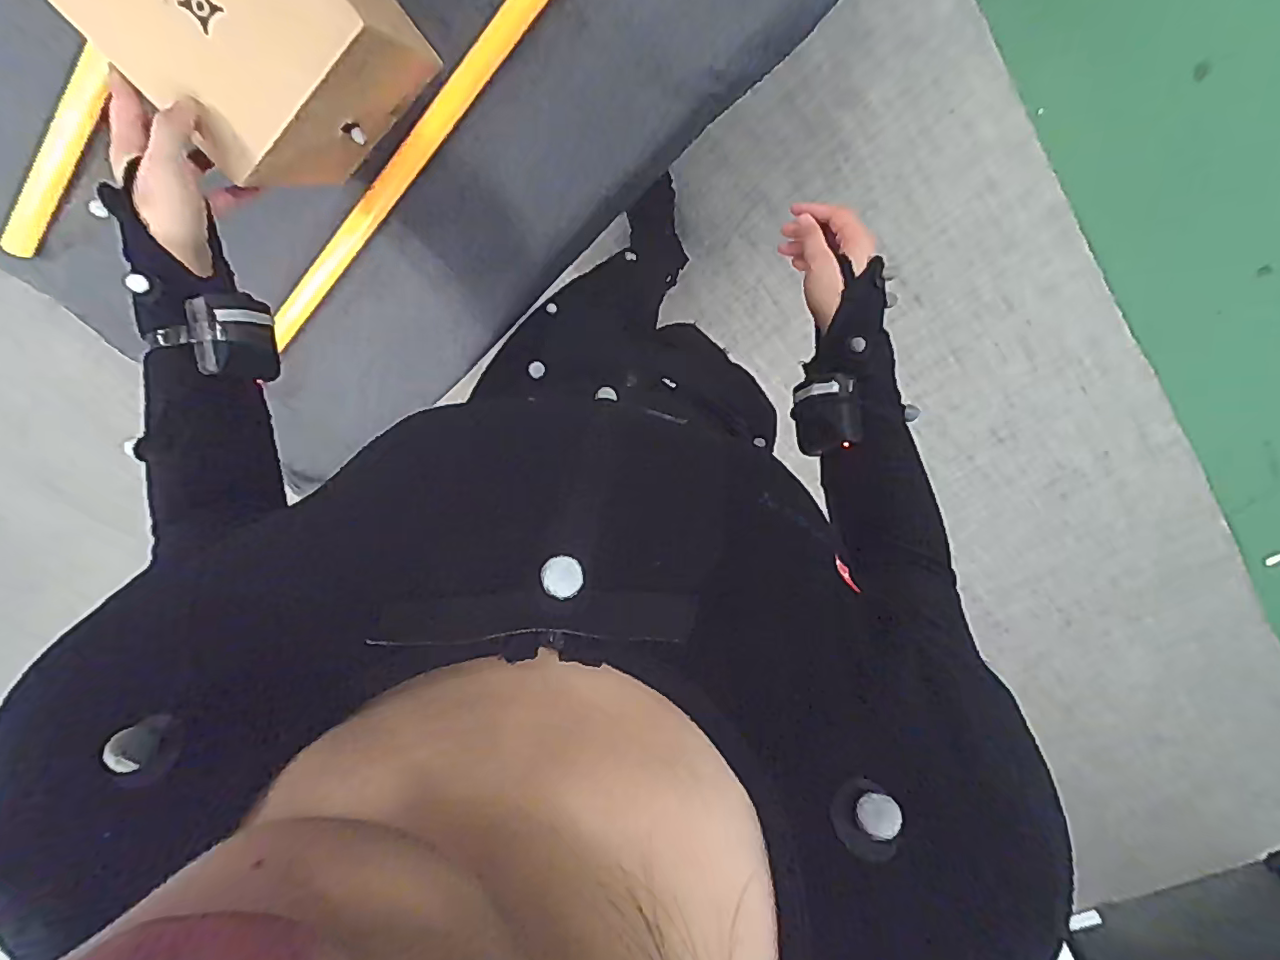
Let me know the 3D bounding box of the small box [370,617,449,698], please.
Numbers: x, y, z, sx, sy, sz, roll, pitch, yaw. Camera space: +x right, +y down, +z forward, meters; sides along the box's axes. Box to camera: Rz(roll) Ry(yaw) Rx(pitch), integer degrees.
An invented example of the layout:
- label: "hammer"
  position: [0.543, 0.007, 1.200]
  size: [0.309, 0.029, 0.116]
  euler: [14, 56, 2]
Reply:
- label: "small box"
  position: [-0.783, 0.606, 1.863]
  size: [0.168, 0.176, 0.179]
  euler: [40, 114, -20]

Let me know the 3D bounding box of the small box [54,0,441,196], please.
- label: "small box"
  position: [-0.300, -0.369, 0.445]
  size: [0.168, 0.176, 0.179]
  euler: [-34, 113, 18]
